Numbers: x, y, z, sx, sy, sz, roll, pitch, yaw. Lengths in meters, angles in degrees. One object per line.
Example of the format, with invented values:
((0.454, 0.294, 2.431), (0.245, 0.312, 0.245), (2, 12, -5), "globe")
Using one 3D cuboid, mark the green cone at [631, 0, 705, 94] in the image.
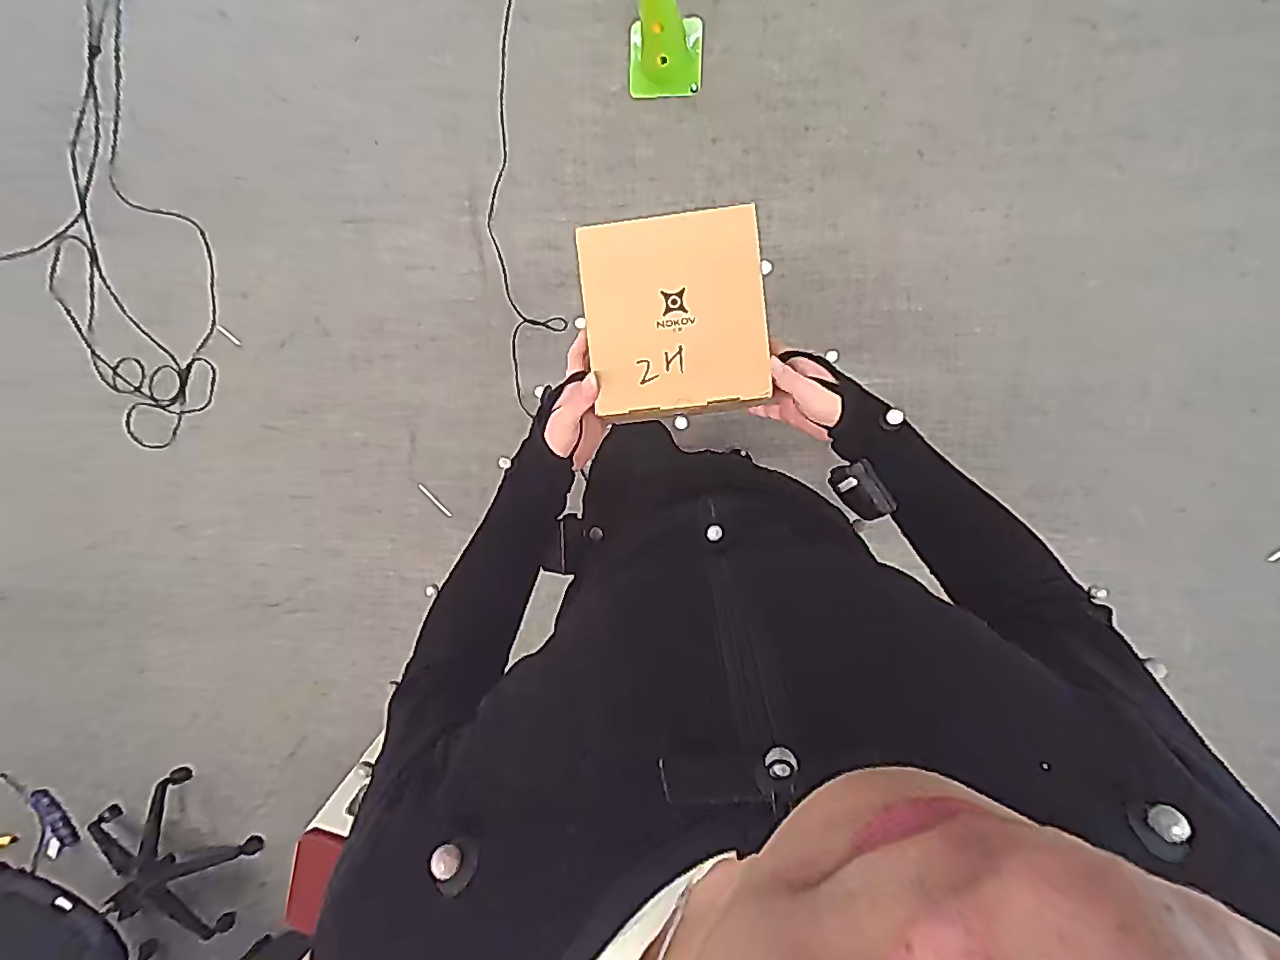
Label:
((0.050, -1.169, 1.332), (0.202, 0.368, 0.200), (3, 96, 8), "green cone")
